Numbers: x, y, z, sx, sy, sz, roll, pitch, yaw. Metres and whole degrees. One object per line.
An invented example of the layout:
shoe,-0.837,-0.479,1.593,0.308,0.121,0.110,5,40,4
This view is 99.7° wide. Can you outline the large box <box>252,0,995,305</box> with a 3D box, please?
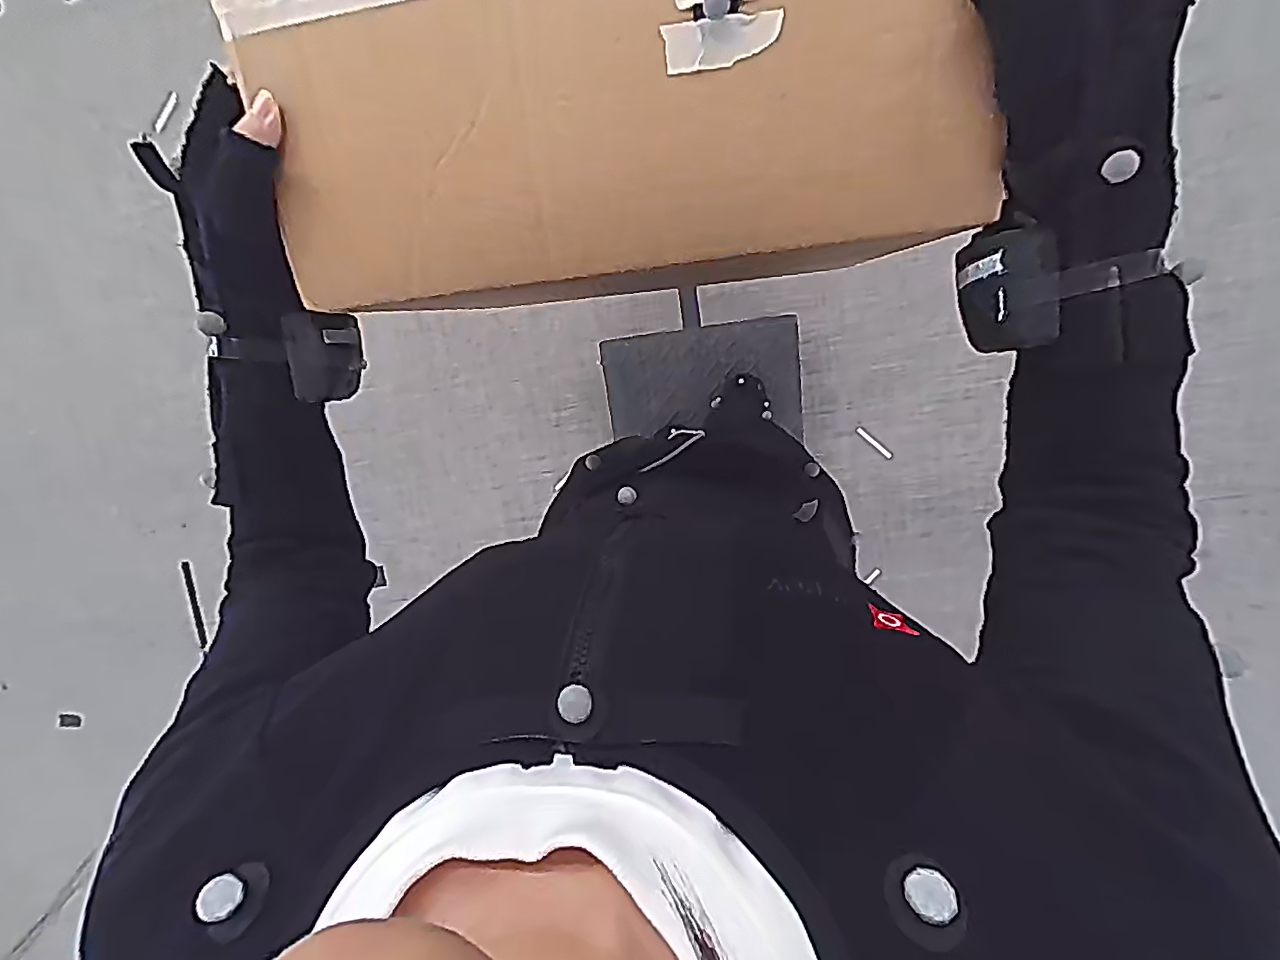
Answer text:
large box,-0.009,-0.323,0.421,0.408,0.320,0.320,-4,108,9
